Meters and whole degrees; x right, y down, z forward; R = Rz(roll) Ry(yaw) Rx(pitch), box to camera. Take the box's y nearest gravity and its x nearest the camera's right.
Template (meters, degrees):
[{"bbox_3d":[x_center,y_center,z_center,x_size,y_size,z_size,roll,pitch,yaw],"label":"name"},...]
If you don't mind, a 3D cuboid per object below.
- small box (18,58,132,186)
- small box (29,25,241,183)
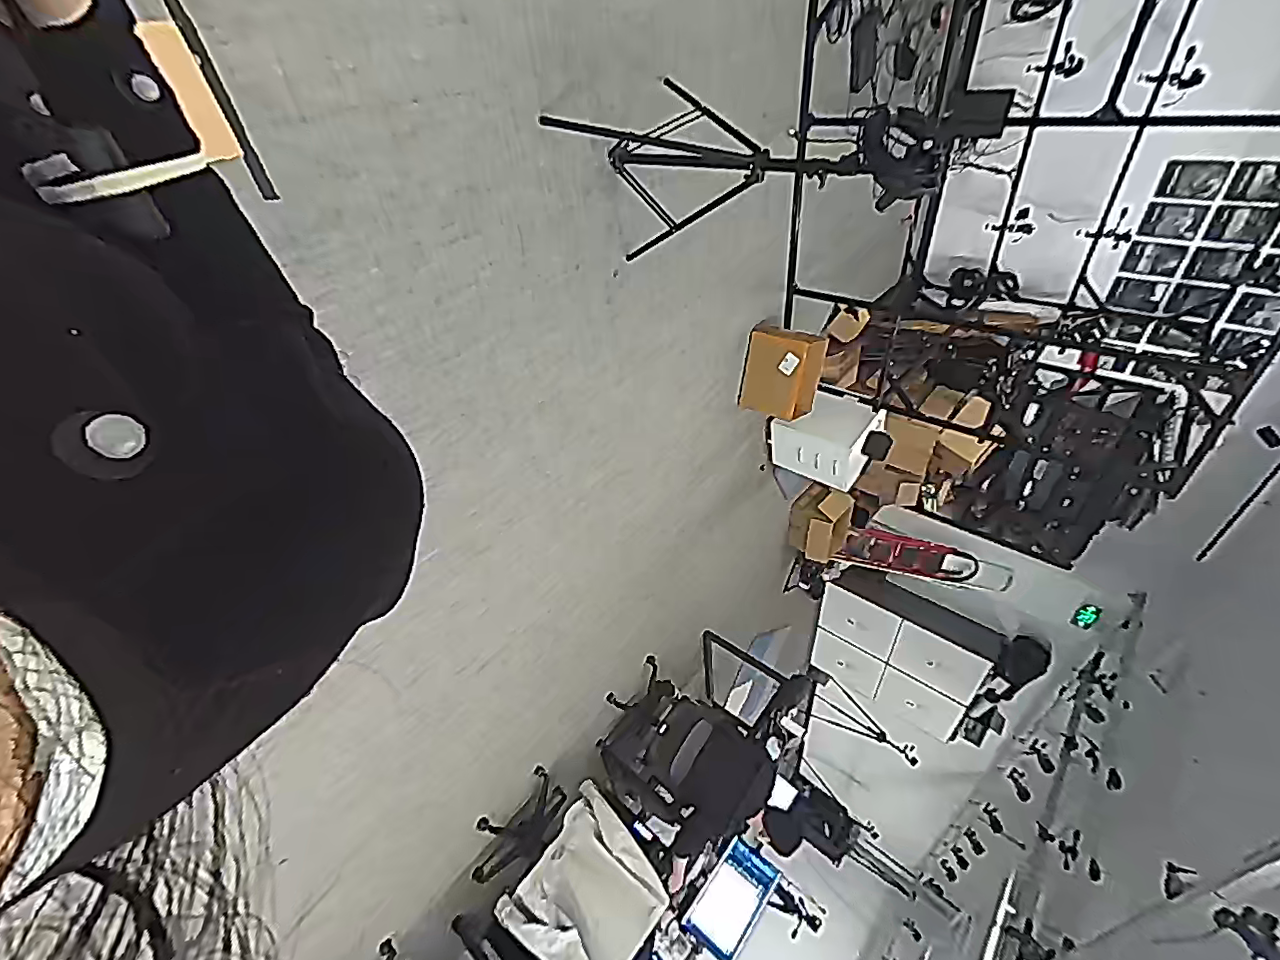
[{"bbox_3d":[-0.903,-0.634,0.938,0.168,0.176,0.179,-42,140,-30],"label":"small box"},{"bbox_3d":[-0.781,-0.579,0.841,0.168,0.176,0.179,-40,139,-31],"label":"small box"}]
